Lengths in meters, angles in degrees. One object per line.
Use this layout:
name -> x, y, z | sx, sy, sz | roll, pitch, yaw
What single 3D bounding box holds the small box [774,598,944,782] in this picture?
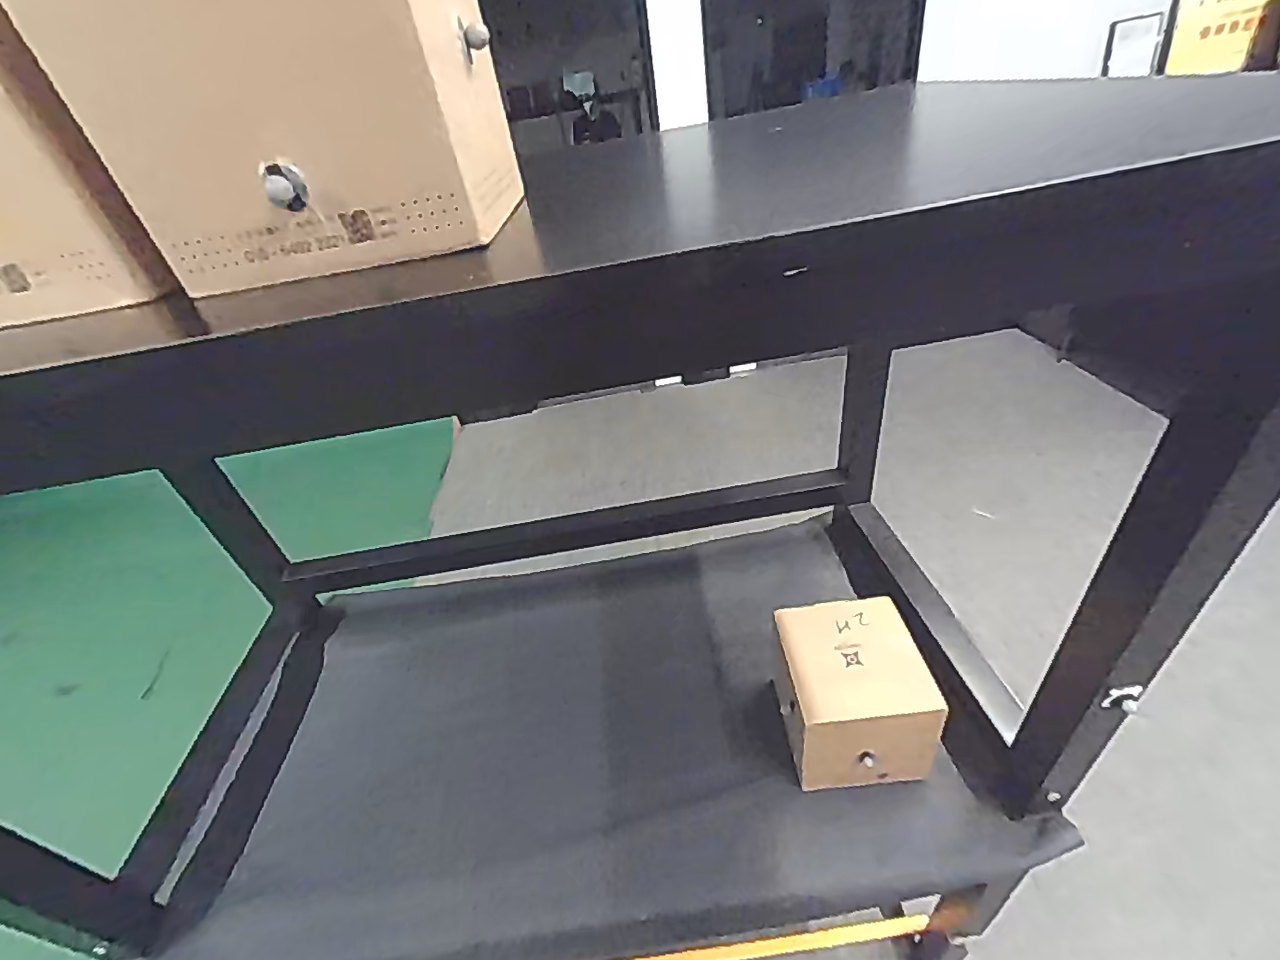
small box -> 0.285, 0.292, 0.742 | 0.168, 0.176, 0.179 | -8, 35, 4
